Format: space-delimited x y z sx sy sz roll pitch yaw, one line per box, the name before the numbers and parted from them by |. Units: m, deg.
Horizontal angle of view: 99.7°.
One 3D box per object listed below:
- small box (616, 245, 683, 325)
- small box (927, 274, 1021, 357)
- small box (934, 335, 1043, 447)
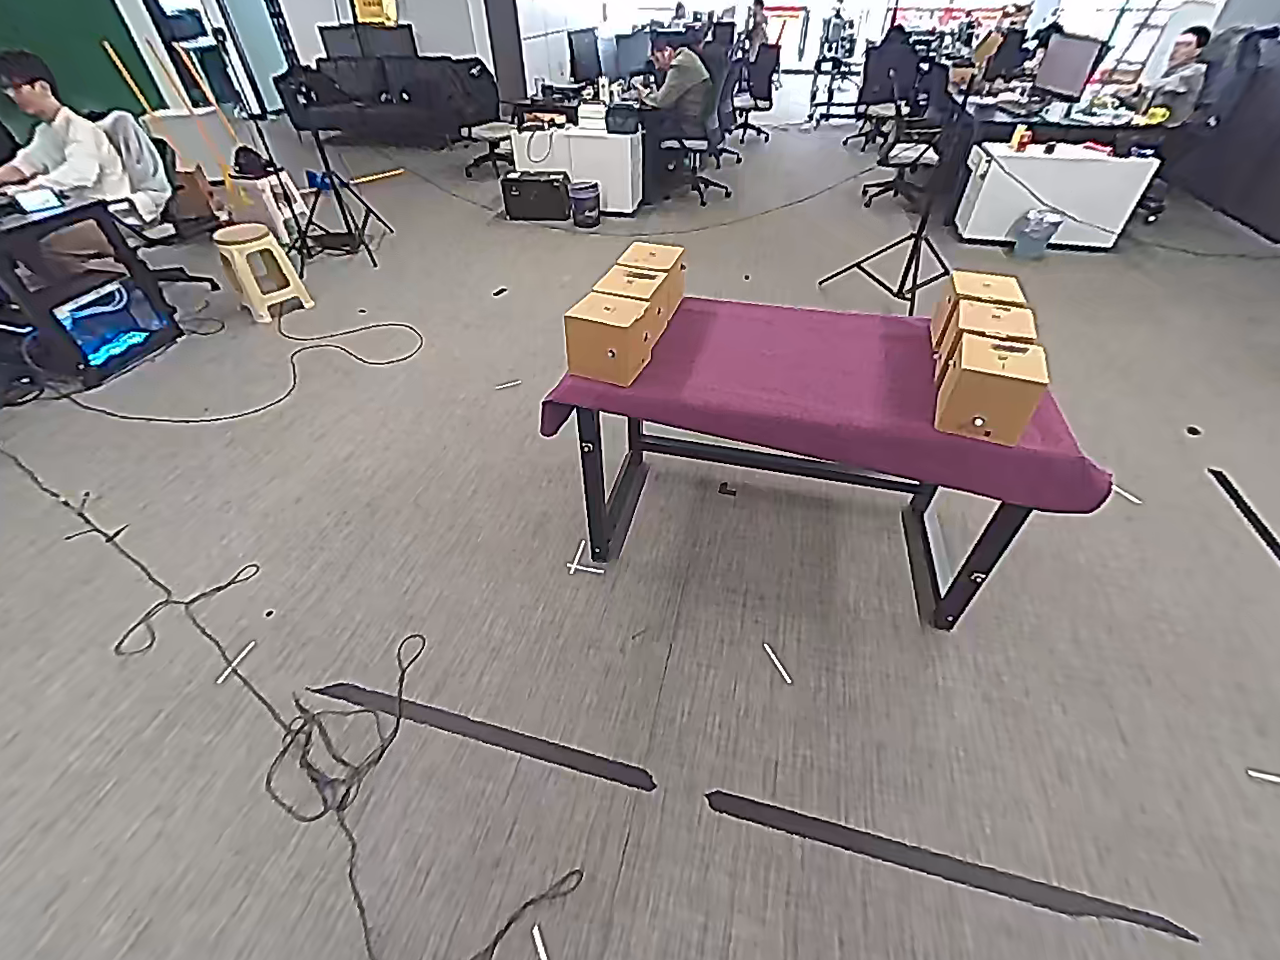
small box | 0.030 -0.607 1.679 0.168 0.176 0.179 13 45 14
small box | 0.919 -0.452 1.507 0.168 0.176 0.179 13 44 13
small box | 0.792 -0.205 1.239 0.168 0.176 0.179 16 49 22
